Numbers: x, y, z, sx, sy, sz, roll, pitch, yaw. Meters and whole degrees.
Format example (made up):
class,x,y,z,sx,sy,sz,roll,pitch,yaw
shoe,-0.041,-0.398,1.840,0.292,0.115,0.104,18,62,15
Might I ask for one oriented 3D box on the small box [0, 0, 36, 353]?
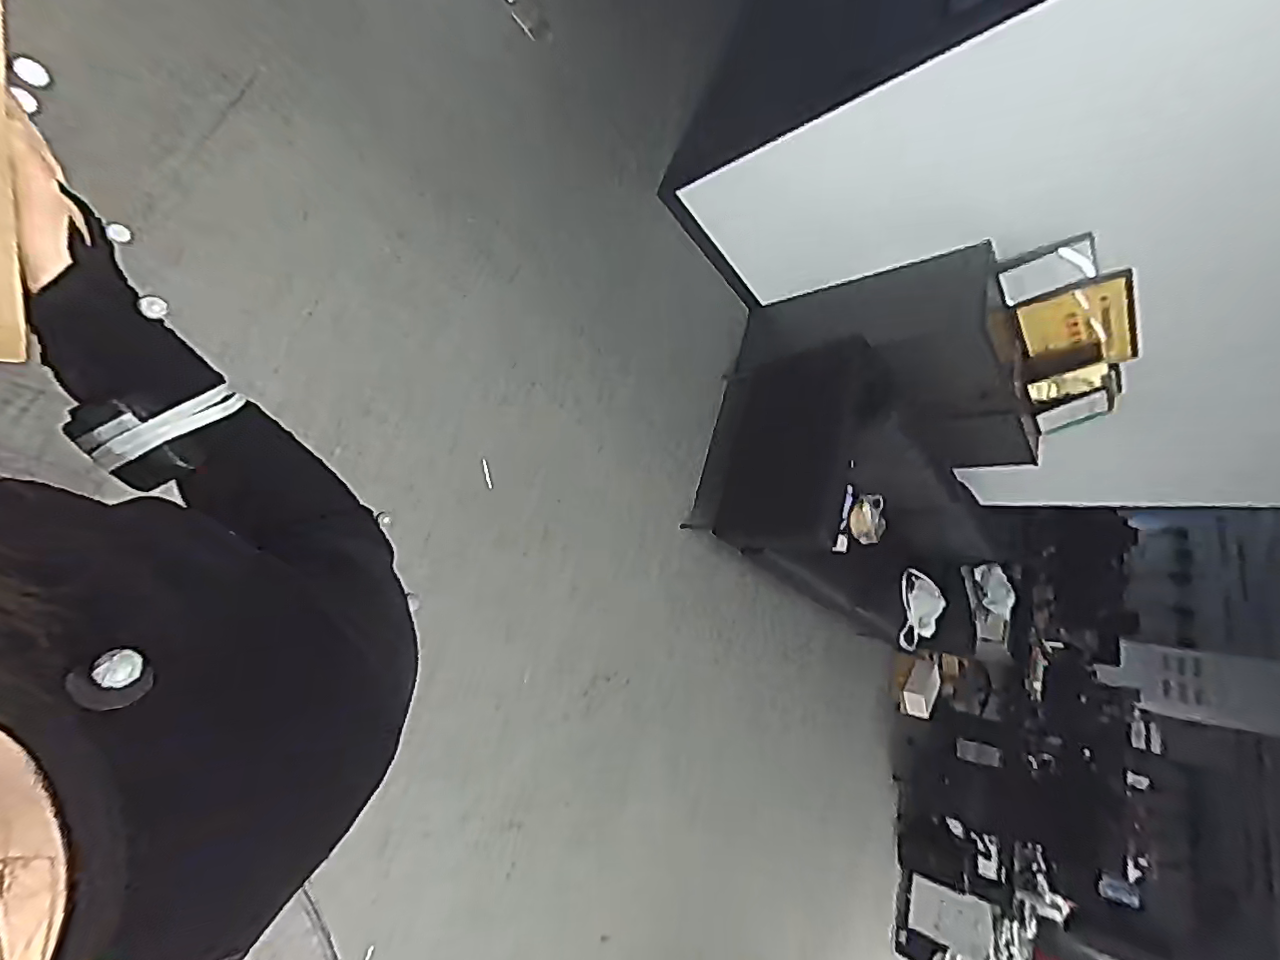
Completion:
class,x,y,z,sx,sy,sz,roll,pitch,yaw
small box,-0.395,-0.178,0.233,0.168,0.176,0.179,-6,128,-49
